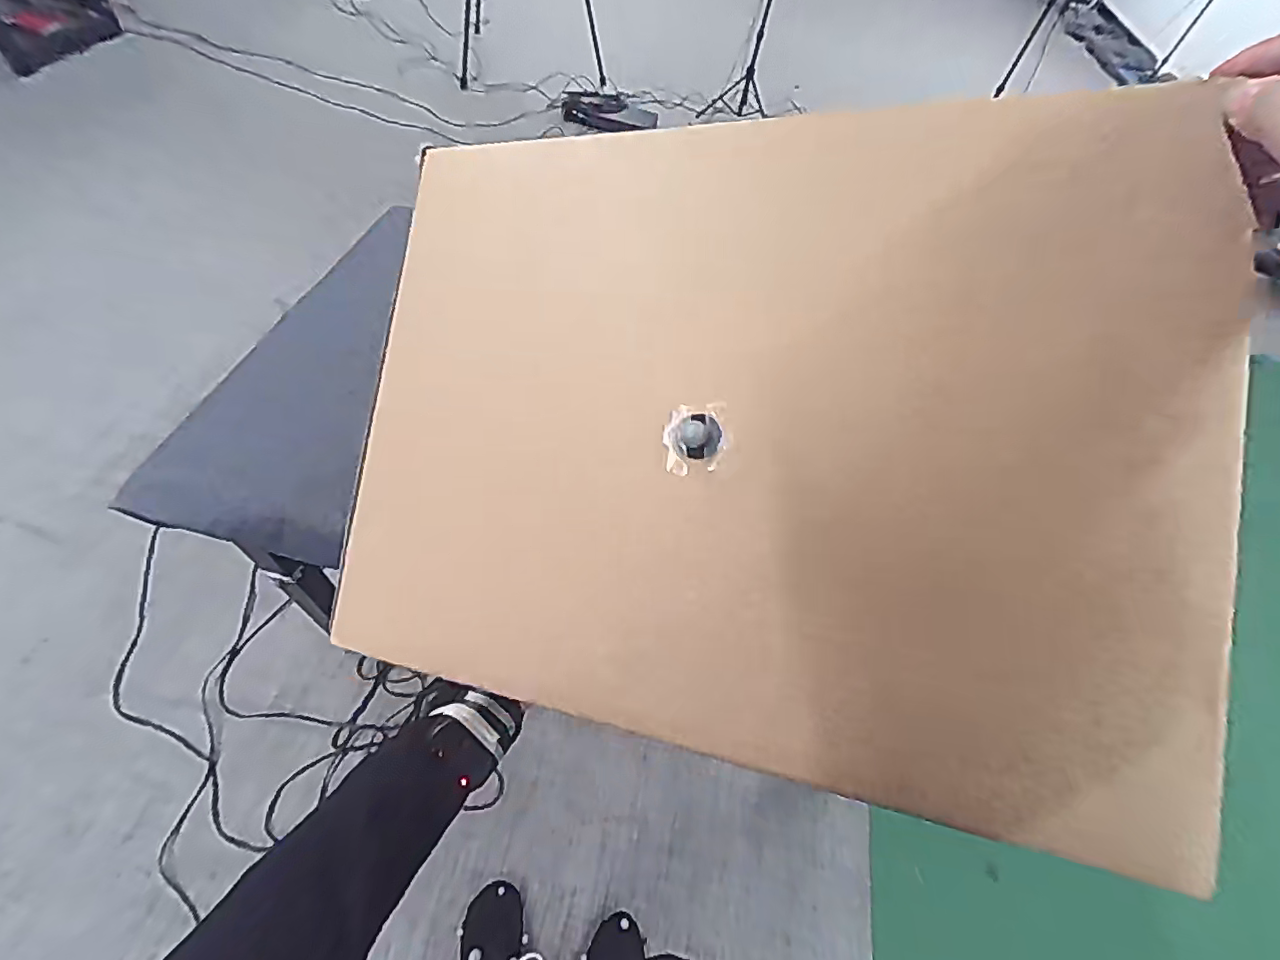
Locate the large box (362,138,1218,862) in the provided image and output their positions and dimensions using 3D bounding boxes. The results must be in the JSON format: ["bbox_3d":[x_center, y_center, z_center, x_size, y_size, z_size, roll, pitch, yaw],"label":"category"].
[{"bbox_3d":[0.080,0.003,0.413,0.408,0.320,0.320,6,84,18],"label":"large box"}]
